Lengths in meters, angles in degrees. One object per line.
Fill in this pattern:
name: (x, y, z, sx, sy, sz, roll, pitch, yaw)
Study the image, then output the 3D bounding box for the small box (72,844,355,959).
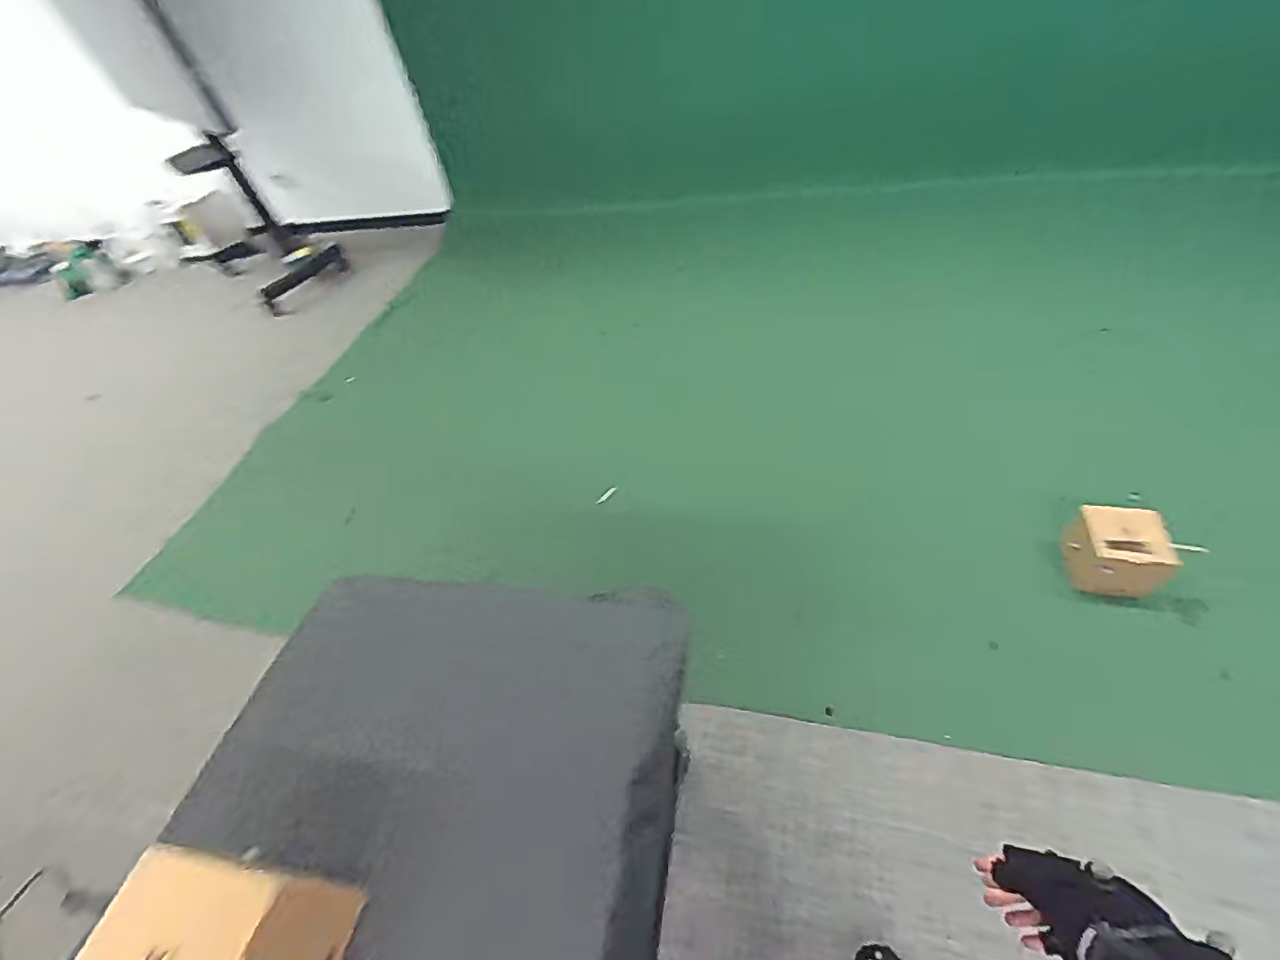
small box: (-0.451, 0.509, 0.568, 0.179, 0.176, 0.168, 4, 50, 13)
